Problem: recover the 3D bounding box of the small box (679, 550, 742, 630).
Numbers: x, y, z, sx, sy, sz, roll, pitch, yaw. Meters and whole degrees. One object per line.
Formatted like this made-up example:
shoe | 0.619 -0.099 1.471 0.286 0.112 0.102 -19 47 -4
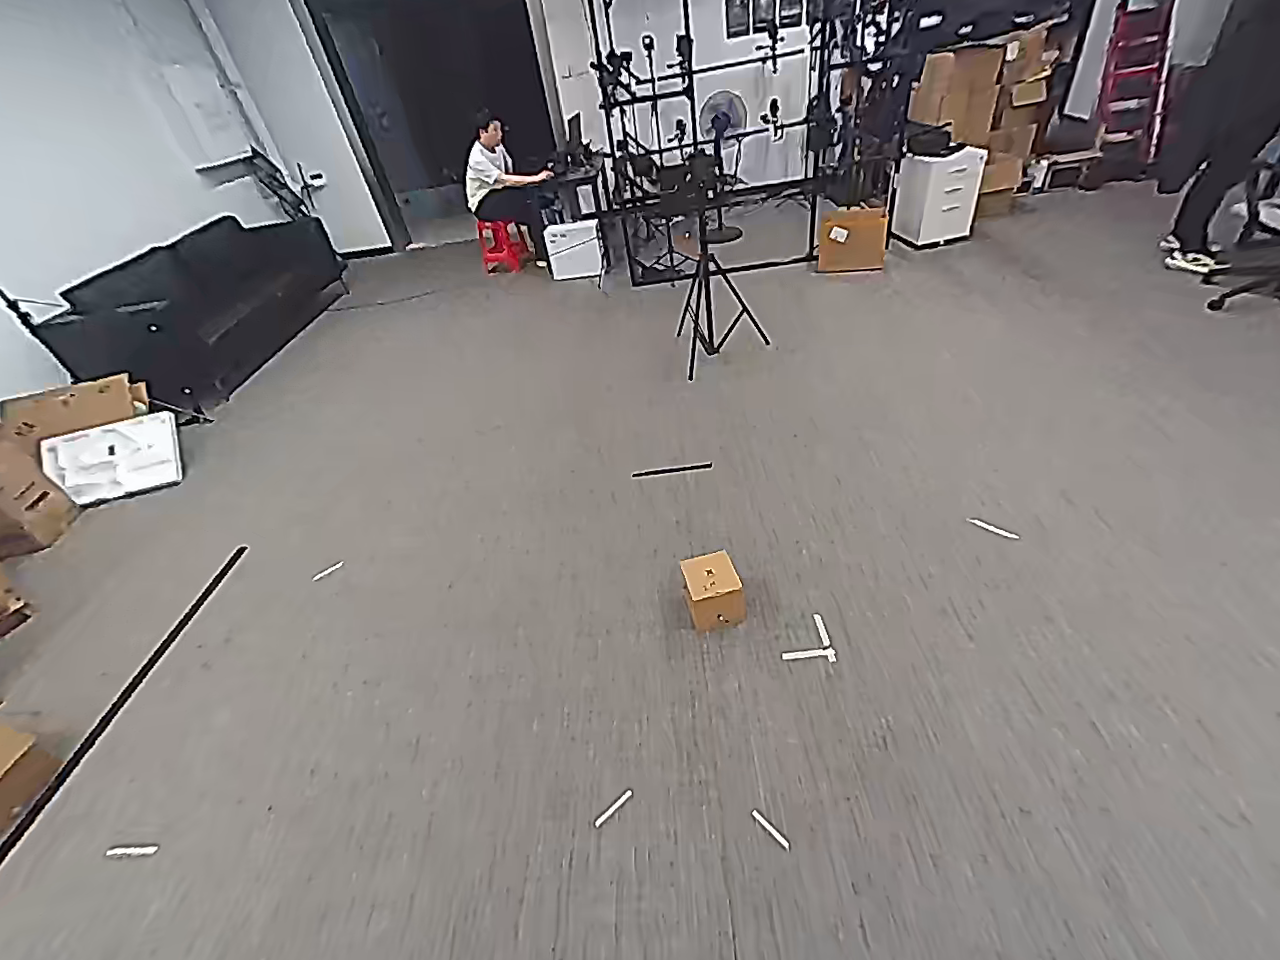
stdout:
small box | 0.235 0.368 1.802 0.168 0.176 0.179 -14 39 -4
